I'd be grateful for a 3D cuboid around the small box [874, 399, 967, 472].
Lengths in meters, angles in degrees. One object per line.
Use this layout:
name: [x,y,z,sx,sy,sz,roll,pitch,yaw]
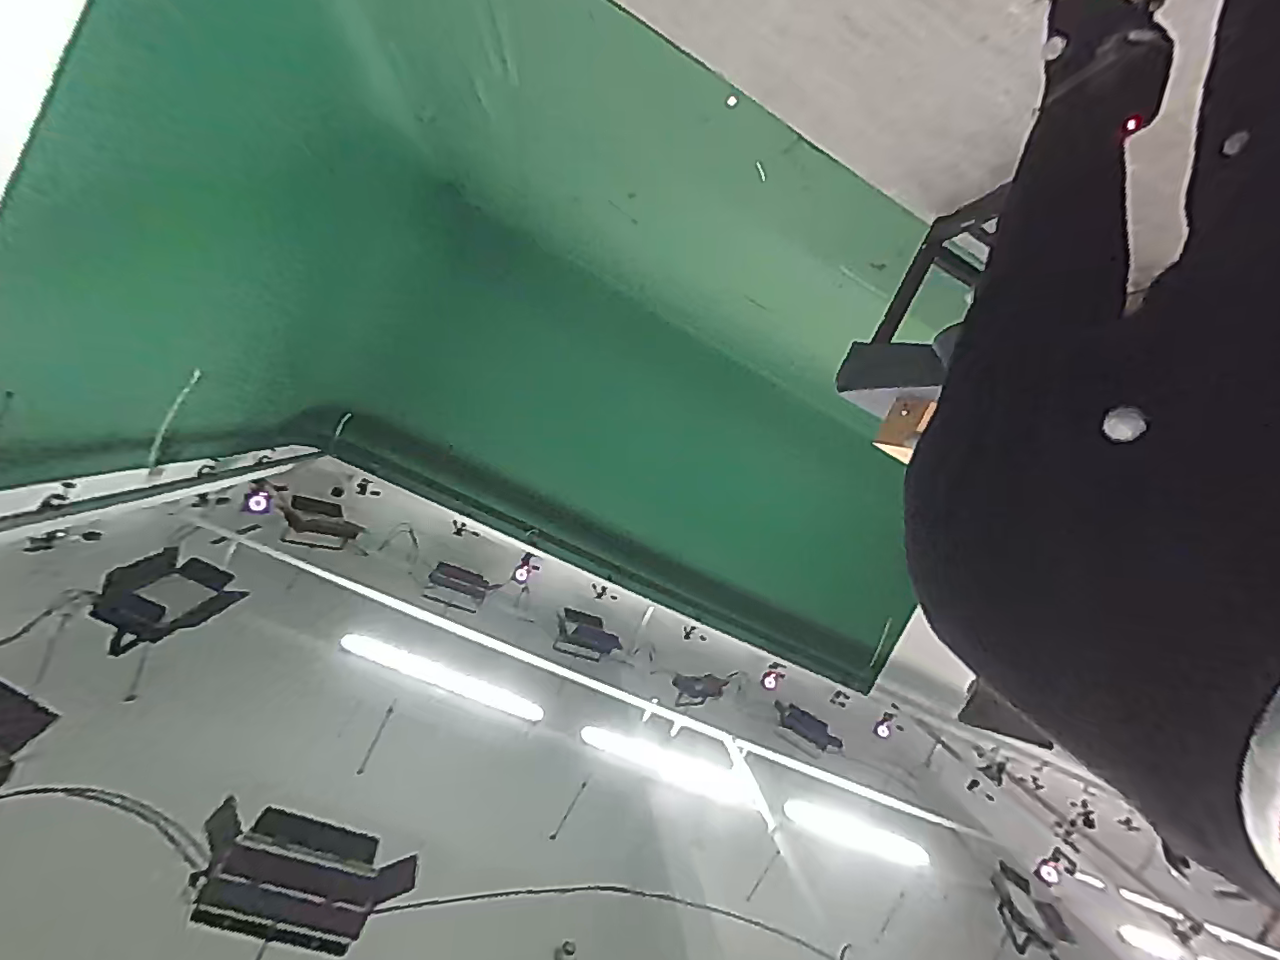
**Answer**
small box: [0.916,-0.147,1.761,0.179,0.176,0.168,27,-177,-17]
